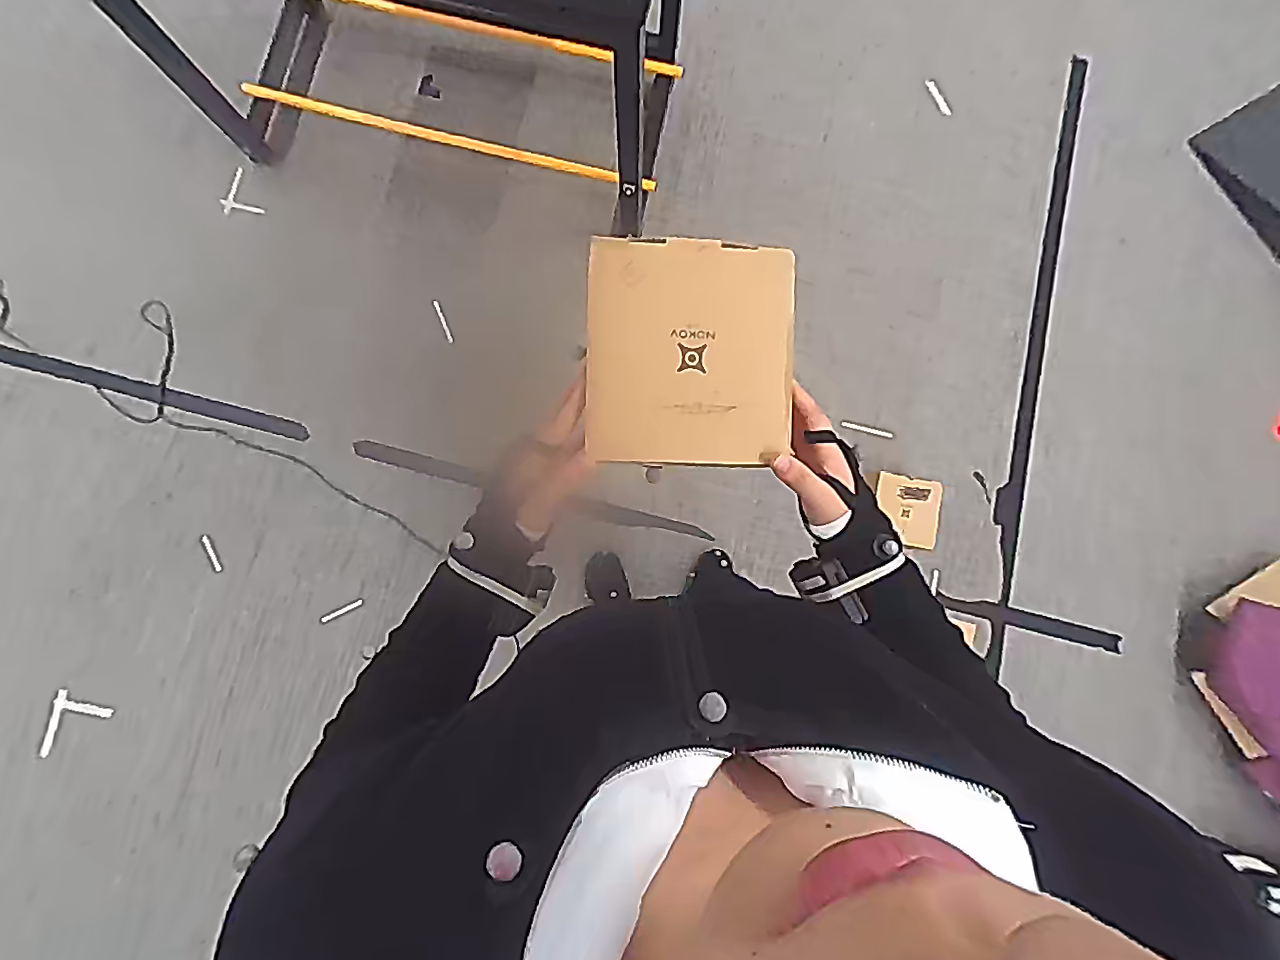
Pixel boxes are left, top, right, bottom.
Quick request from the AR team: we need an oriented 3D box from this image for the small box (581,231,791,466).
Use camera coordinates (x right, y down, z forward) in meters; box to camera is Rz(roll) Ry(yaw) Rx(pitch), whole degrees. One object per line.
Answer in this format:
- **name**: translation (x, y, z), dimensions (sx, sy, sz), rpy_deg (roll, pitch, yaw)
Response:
- **small box**: translation (0.030, -0.104, 0.503), dimensions (0.168, 0.176, 0.179), rpy_deg (1, 91, -5)

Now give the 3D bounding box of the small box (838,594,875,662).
- **small box**: translation (0.639, 0.400, 1.411), dimensions (0.179, 0.176, 0.168), rpy_deg (13, 84, 2)

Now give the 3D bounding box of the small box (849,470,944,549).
- **small box**: translation (0.677, 0.083, 1.445), dimensions (0.168, 0.176, 0.179), rpy_deg (12, 84, 1)
